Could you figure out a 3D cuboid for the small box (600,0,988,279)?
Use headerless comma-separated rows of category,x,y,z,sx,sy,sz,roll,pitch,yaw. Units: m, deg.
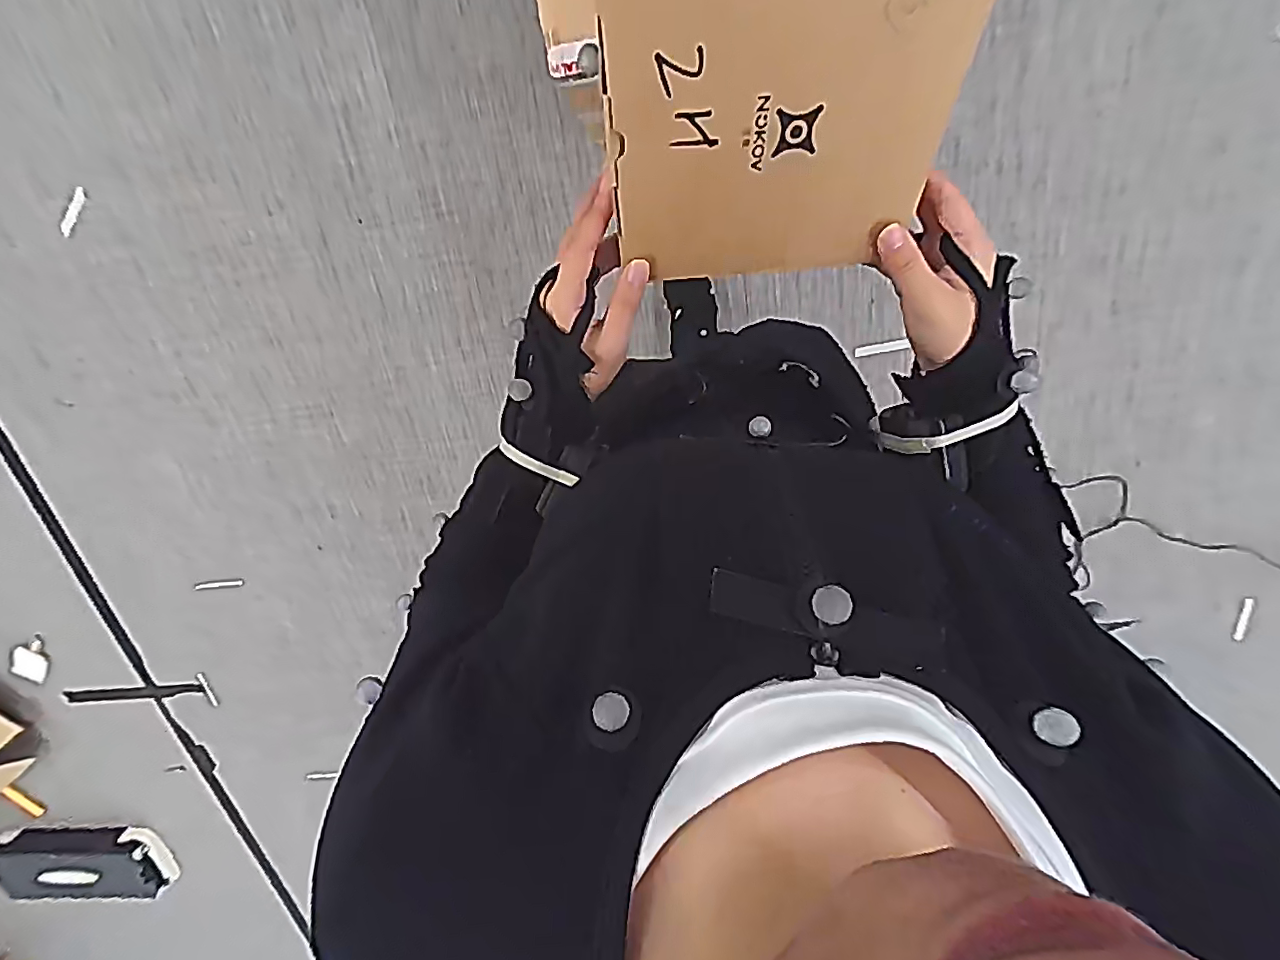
small box,0.067,-0.248,0.325,0.179,0.176,0.168,-4,146,1
